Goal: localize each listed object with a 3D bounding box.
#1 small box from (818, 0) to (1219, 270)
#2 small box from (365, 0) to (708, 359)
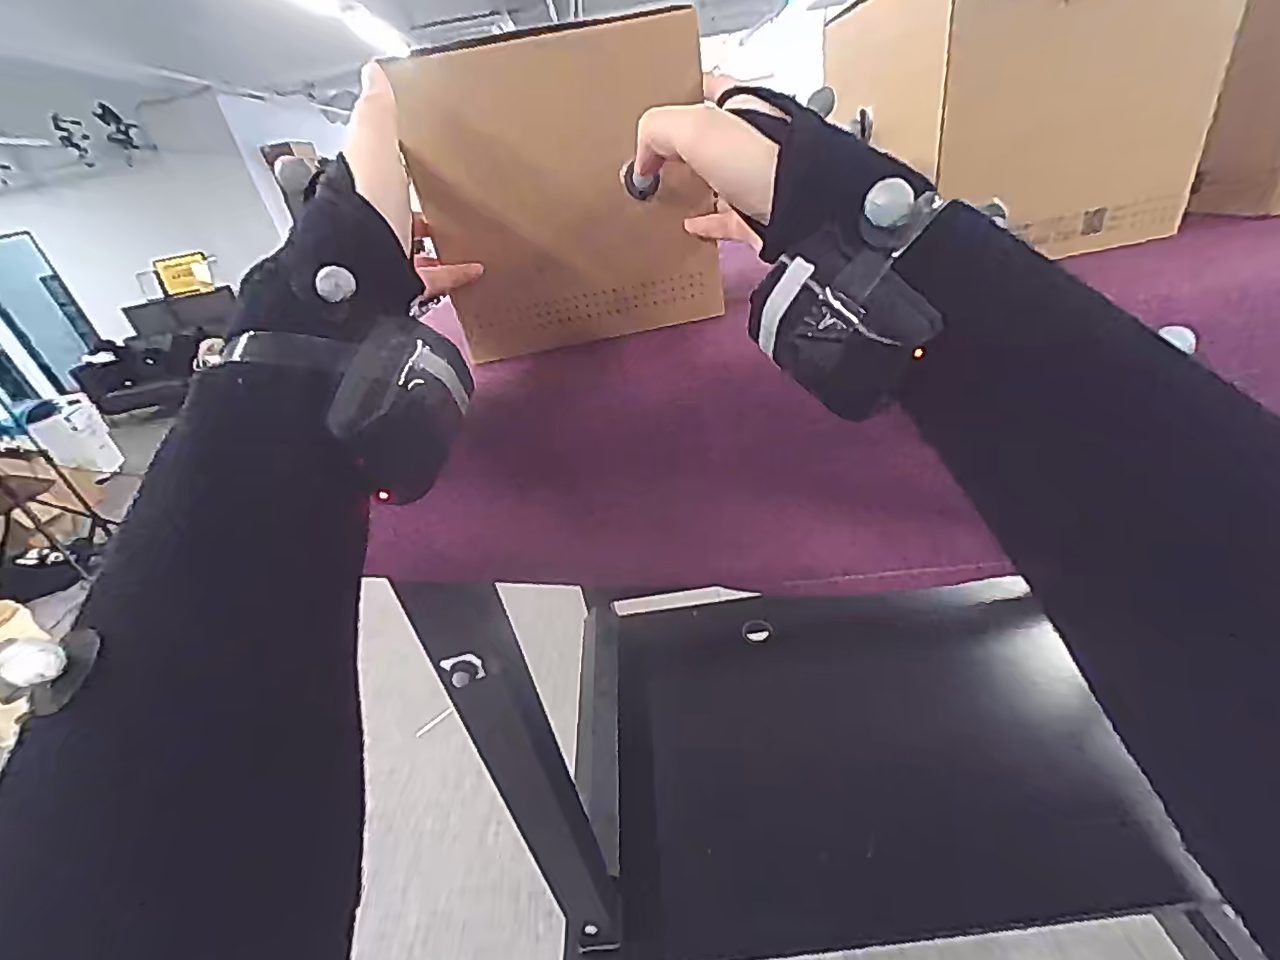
[{"bbox_3d":[0.237,-0.252,0.375,0.168,0.176,0.179,-11,29,-1],"label":"small box"},{"bbox_3d":[-0.054,-0.202,0.387,0.179,0.176,0.168,-12,29,-2],"label":"small box"}]
